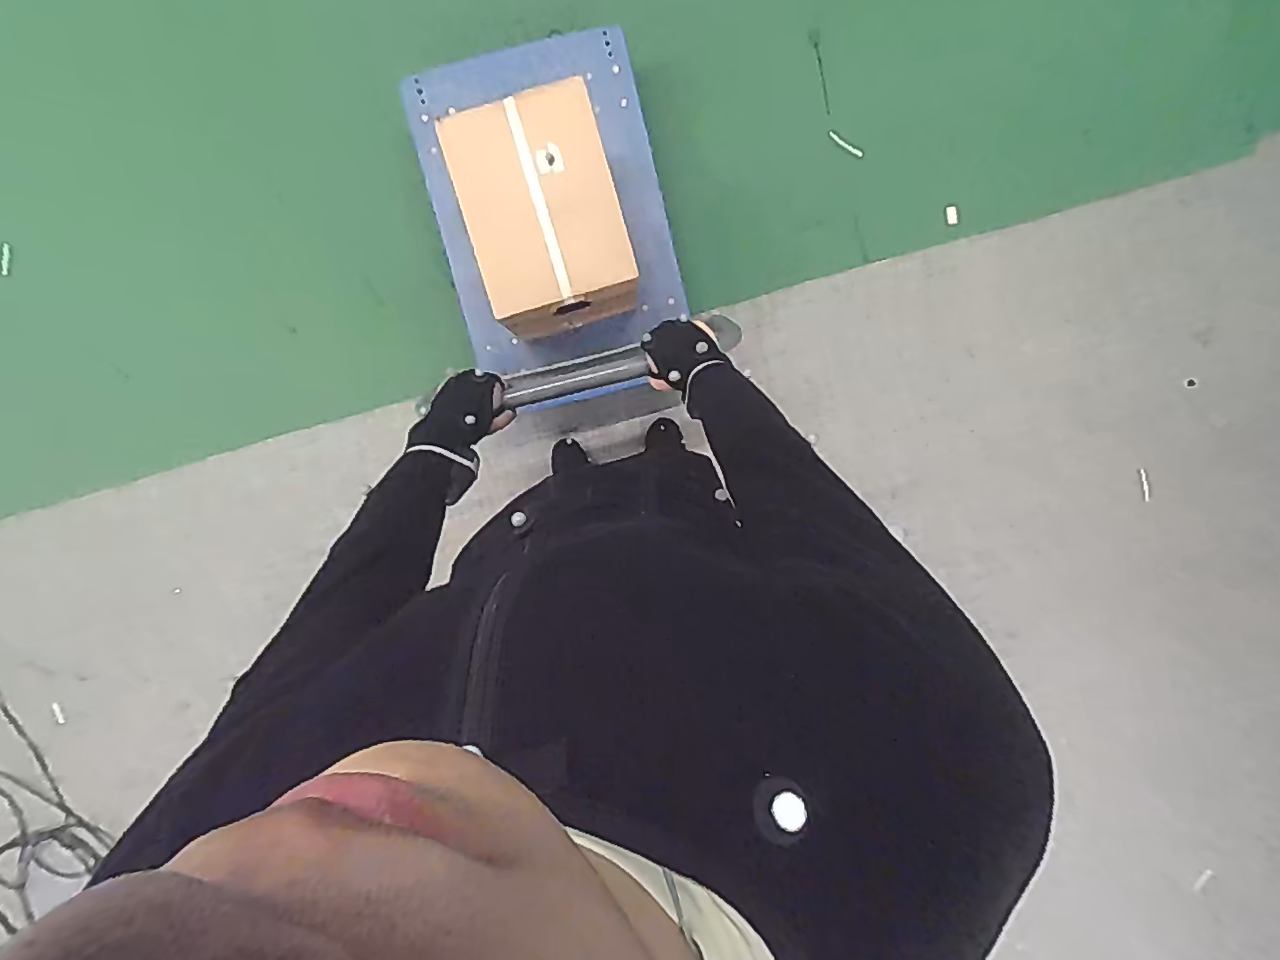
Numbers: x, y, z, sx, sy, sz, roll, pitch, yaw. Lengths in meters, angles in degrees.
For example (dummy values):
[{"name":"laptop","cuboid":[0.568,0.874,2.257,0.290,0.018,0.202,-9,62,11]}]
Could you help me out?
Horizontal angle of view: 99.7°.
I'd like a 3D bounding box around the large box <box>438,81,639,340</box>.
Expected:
[{"name":"large box","cuboid":[-0.203,-0.581,1.248,0.320,0.320,0.408,-16,96,1]}]
